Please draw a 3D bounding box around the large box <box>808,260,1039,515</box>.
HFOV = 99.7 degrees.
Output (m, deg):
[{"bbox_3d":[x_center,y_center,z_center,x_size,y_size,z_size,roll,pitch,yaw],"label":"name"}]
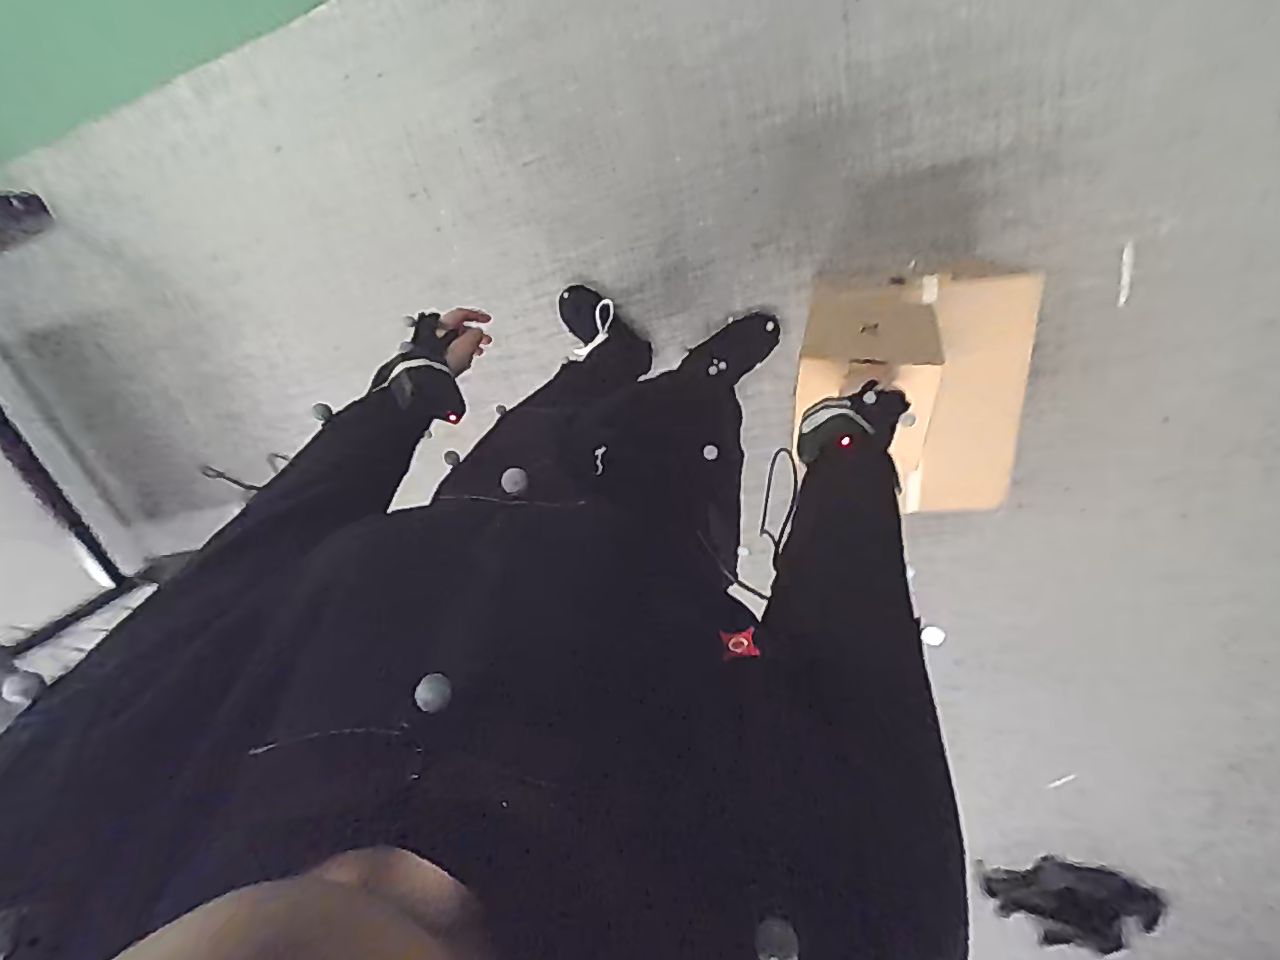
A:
[{"bbox_3d":[0.505,-0.184,1.051,0.320,0.320,0.408,-2,116,14],"label":"large box"}]
